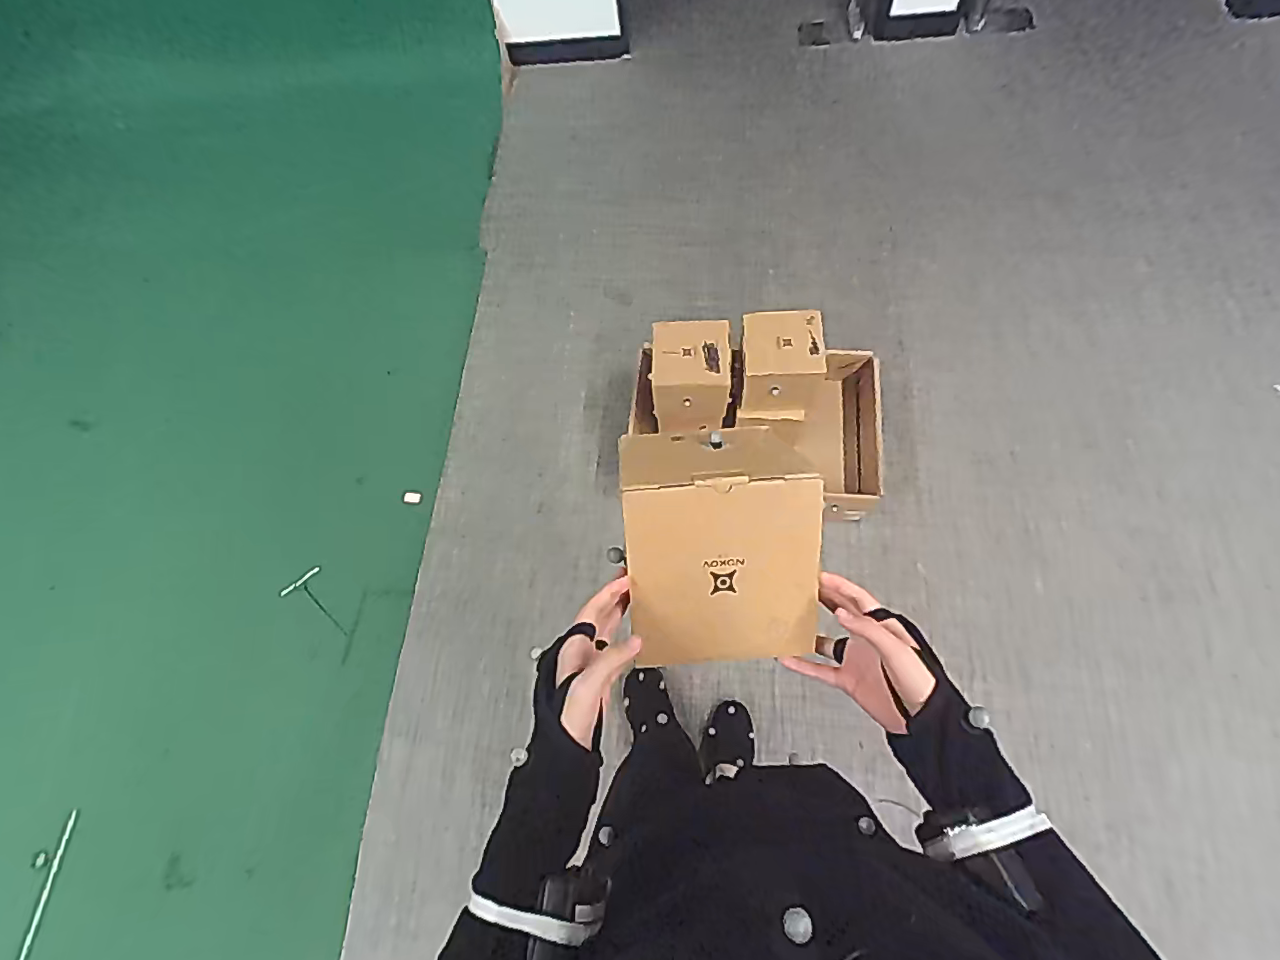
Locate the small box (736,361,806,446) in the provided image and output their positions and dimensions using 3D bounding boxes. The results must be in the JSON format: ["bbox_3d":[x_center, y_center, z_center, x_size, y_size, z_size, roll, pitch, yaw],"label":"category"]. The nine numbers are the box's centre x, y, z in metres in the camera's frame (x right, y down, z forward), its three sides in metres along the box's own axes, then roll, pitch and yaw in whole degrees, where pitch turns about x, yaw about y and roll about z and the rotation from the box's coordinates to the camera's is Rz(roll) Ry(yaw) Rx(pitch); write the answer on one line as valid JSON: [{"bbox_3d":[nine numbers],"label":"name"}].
[{"bbox_3d":[0.339,-0.205,1.412,0.168,0.176,0.179,3,72,10],"label":"small box"}]

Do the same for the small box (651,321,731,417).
[{"bbox_3d":[0.122,-0.258,1.282,0.179,0.176,0.168,0,72,7],"label":"small box"}]

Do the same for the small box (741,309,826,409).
[{"bbox_3d":[0.328,-0.275,1.264,0.179,0.176,0.168,-1,71,9],"label":"small box"}]

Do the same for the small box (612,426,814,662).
[{"bbox_3d":[0.064,0.054,0.538,0.168,0.176,0.179,-4,108,1],"label":"small box"}]
